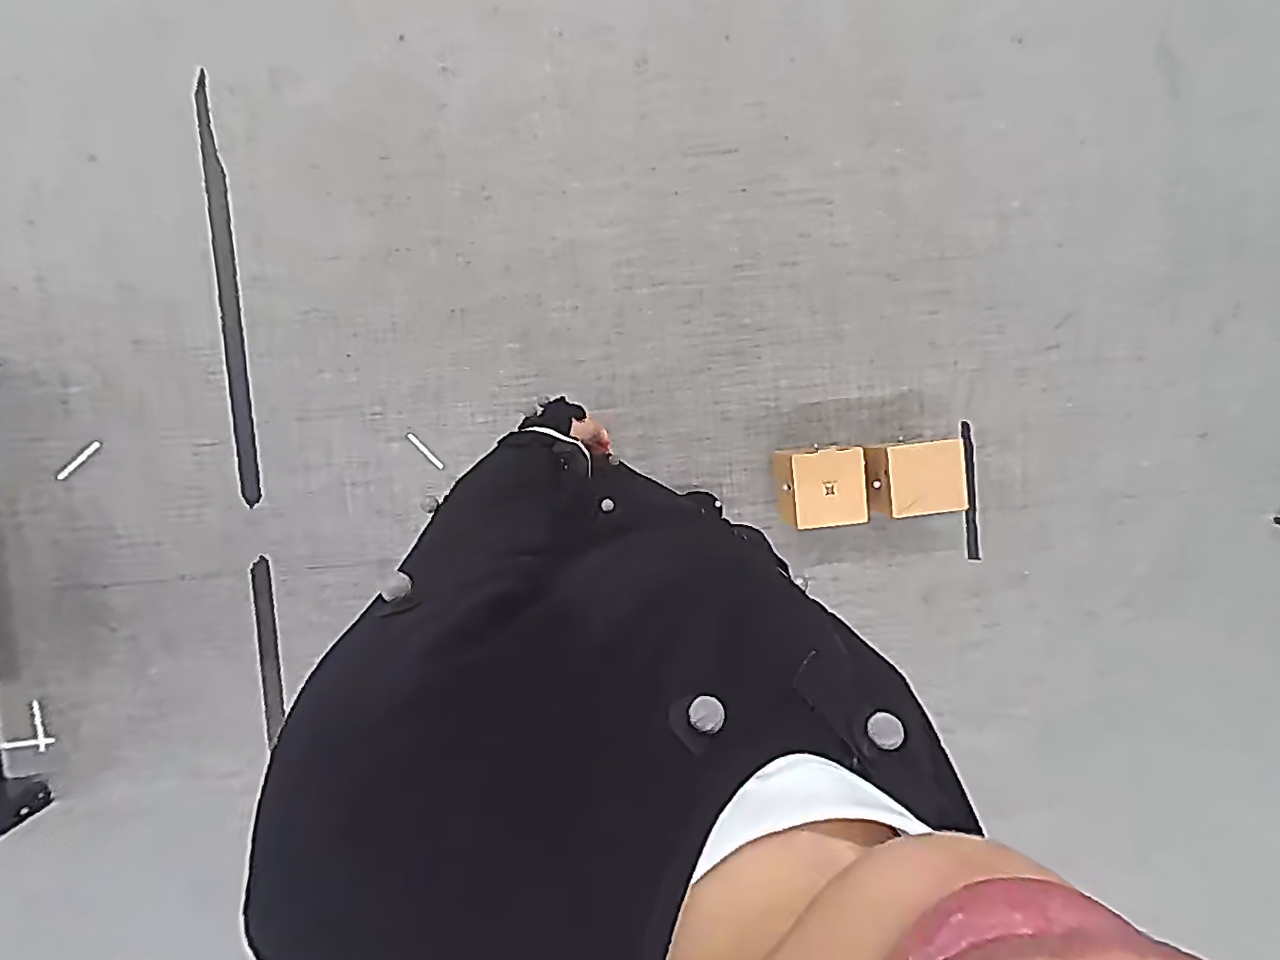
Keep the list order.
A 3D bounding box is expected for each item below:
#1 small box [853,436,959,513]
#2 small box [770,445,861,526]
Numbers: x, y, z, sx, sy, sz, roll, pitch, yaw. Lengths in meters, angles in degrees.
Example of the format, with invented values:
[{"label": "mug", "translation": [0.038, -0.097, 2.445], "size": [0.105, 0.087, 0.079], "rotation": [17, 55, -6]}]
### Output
[{"label": "small box", "translation": [0.648, -0.015, 1.325], "size": [0.179, 0.176, 0.168], "rotation": [-7, 94, -1]}, {"label": "small box", "translation": [0.425, 0.008, 1.325], "size": [0.168, 0.176, 0.179], "rotation": [-6, 94, -1]}]
